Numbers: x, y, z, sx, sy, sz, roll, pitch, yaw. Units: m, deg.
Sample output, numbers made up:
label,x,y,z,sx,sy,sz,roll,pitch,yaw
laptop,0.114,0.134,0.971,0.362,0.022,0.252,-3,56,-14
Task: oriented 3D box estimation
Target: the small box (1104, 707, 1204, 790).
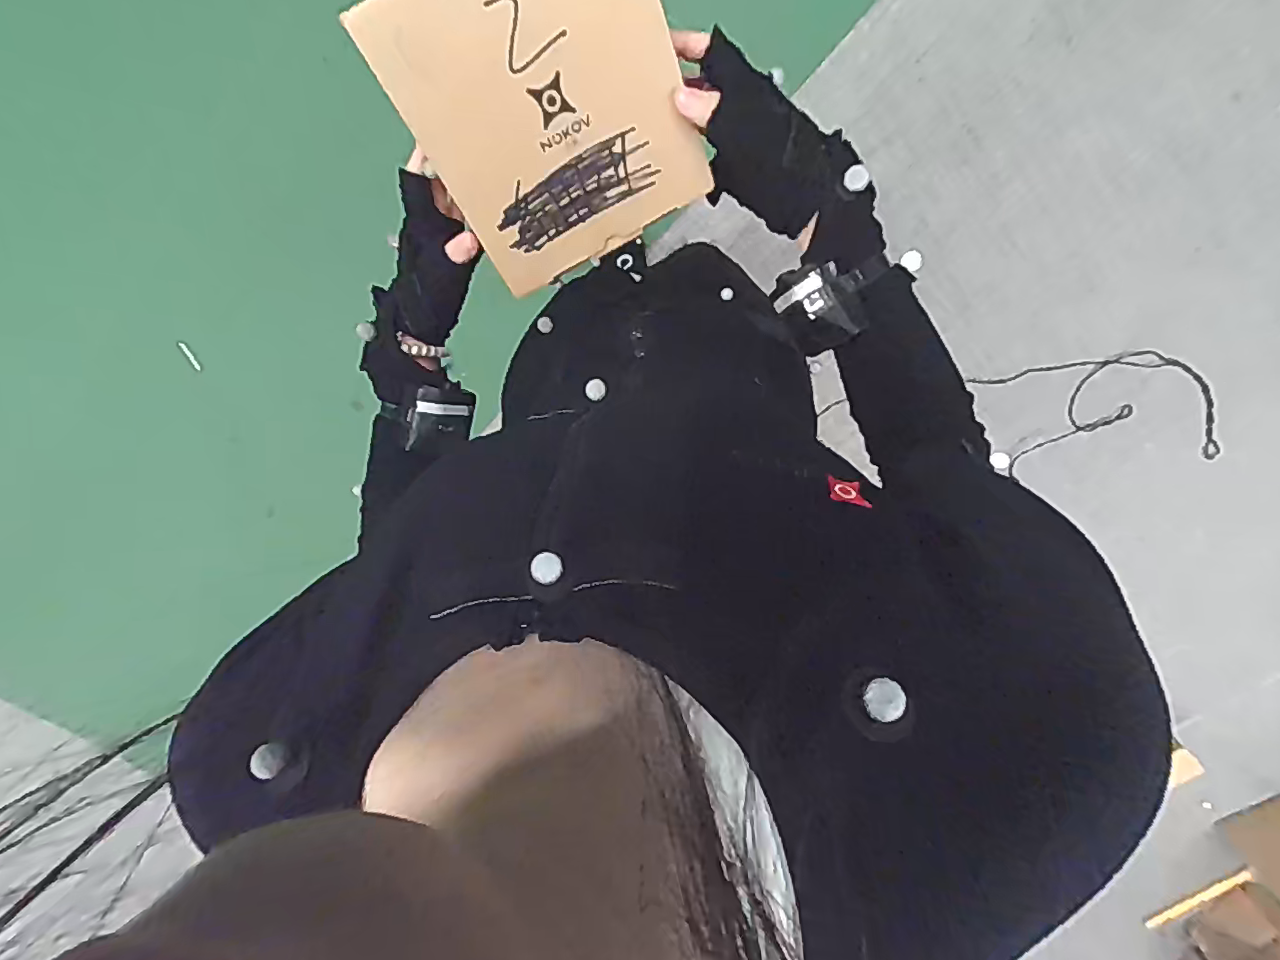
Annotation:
label,x,y,z,sx,sy,sz,roll,pitch,yaw
small box,1.809,0.949,1.917,0.168,0.176,0.179,40,110,-16
